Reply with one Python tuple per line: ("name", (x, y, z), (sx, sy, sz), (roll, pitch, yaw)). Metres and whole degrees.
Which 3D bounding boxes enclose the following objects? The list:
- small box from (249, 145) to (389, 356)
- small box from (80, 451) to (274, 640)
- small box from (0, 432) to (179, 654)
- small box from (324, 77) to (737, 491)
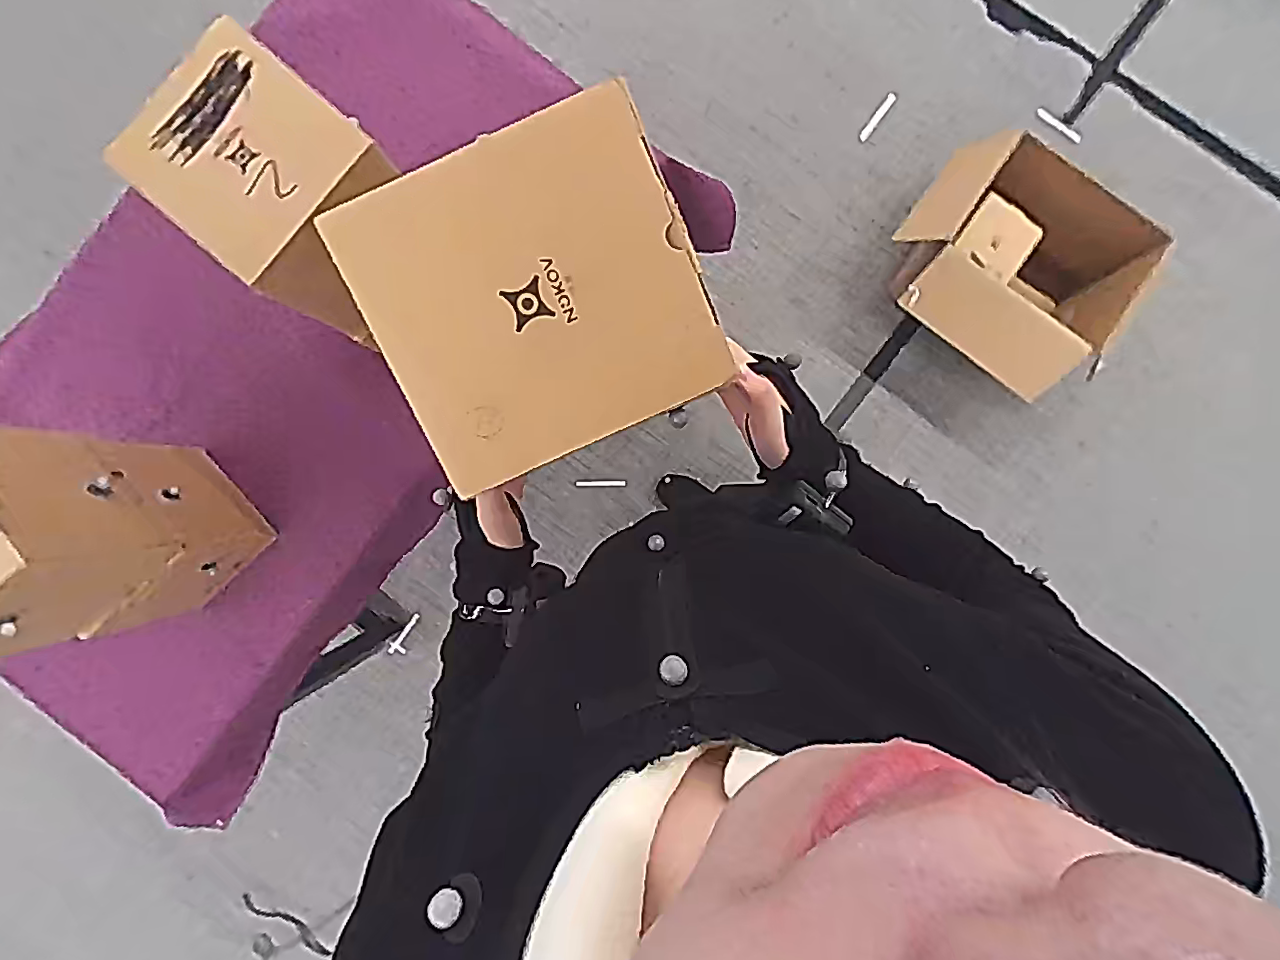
("small box", (-0.337, -0.275, 0.706), (0.179, 0.176, 0.168), (40, 91, 2))
("small box", (-0.644, 0.074, 0.716), (0.168, 0.176, 0.179), (-42, 89, 0))
("small box", (-0.645, 0.068, 0.552), (0.179, 0.176, 0.168), (-41, 90, 0))
("small box", (-0.058, -0.111, 0.367), (0.179, 0.176, 0.168), (-24, 100, 1))
